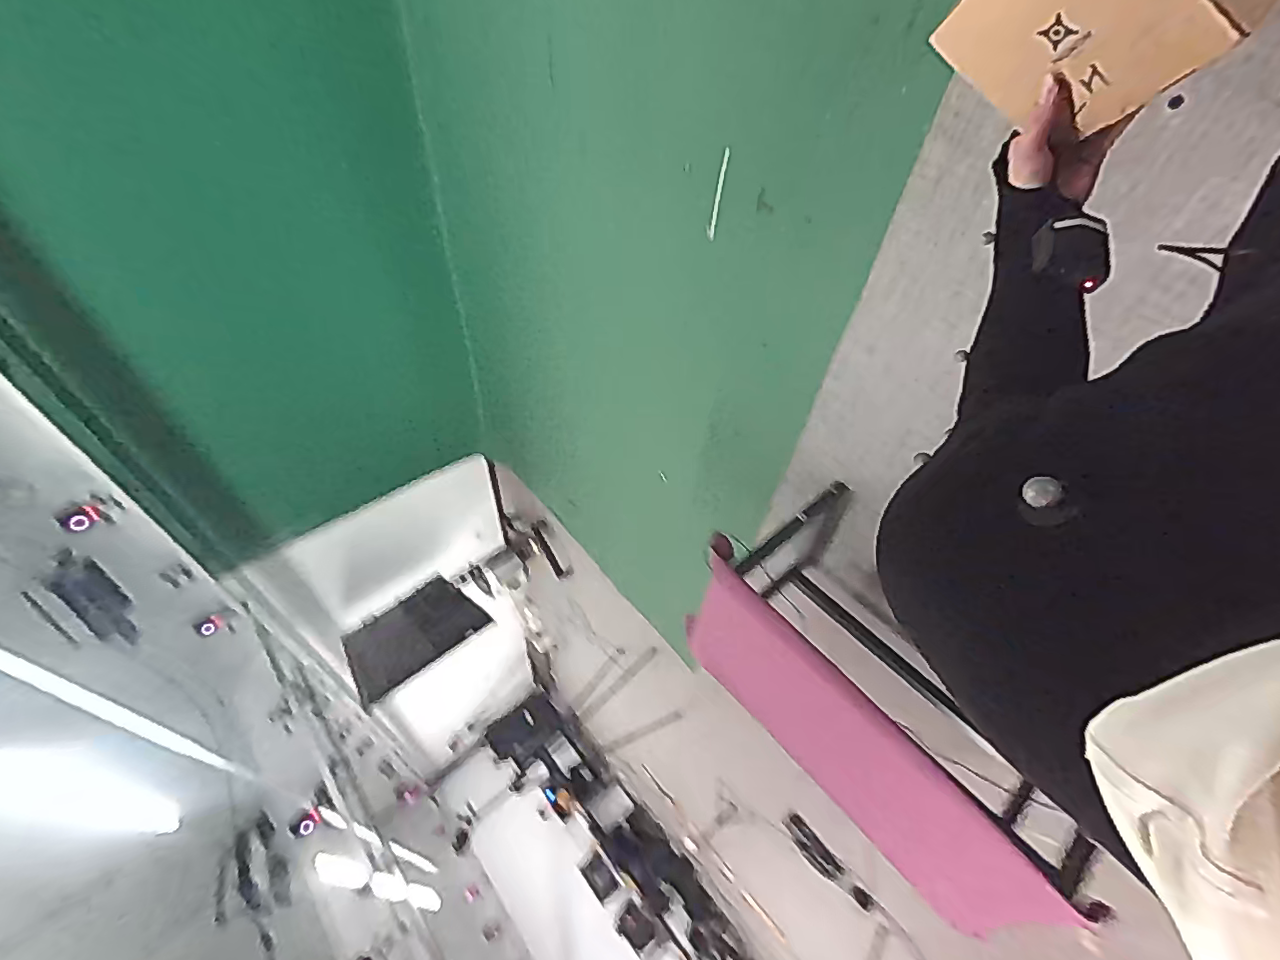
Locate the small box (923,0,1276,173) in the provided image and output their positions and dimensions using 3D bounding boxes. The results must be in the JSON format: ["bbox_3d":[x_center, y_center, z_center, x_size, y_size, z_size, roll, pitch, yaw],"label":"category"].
[{"bbox_3d":[0.399,-0.422,0.461,0.179,0.176,0.168,38,178,-6],"label":"small box"}]
